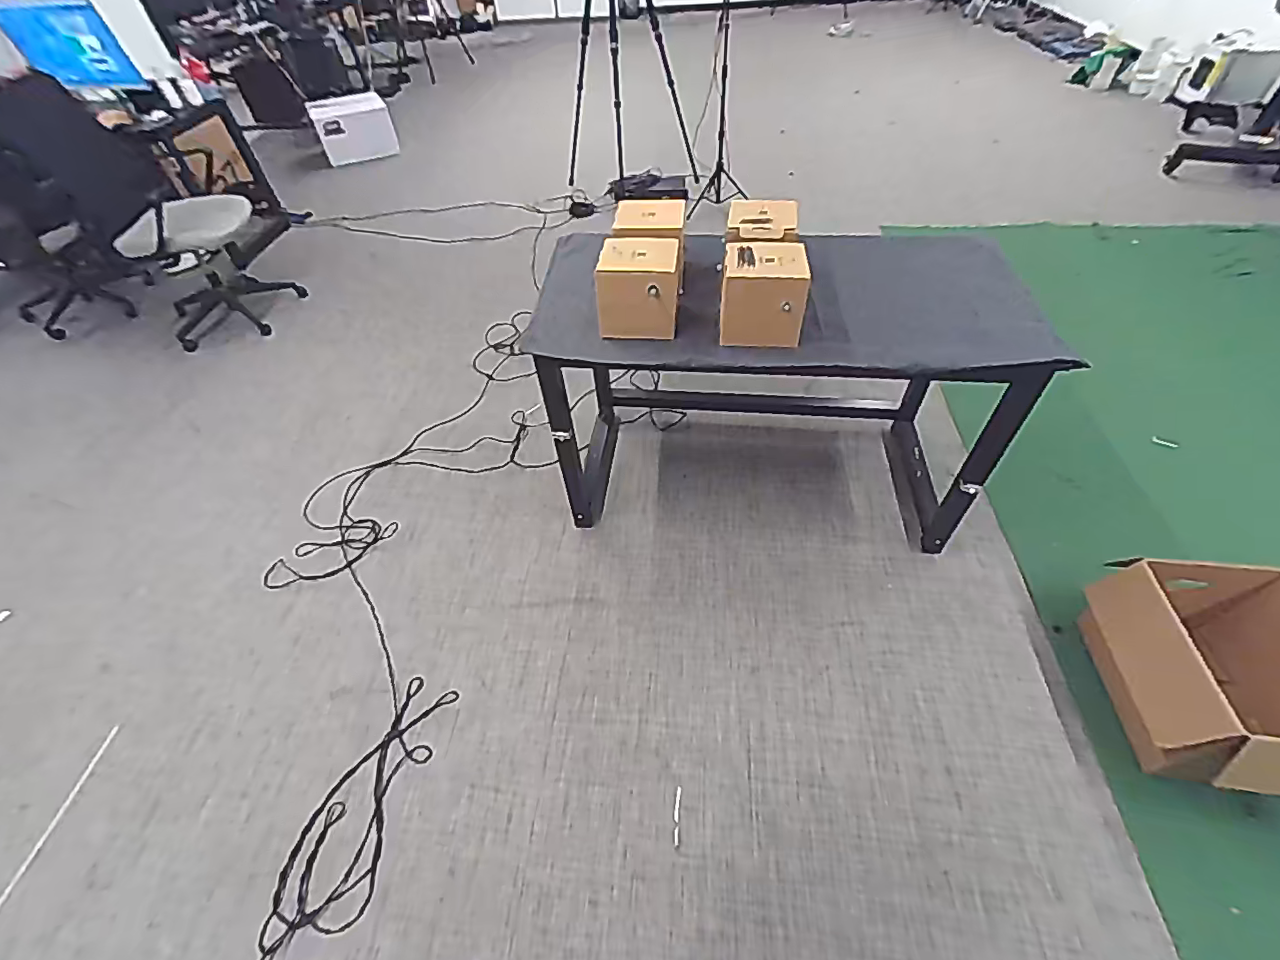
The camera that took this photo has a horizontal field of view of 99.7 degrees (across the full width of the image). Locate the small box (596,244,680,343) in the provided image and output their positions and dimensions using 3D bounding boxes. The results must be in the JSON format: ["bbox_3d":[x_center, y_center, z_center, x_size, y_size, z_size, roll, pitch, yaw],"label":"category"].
[{"bbox_3d":[0.001,-0.436,1.273,0.179,0.176,0.168,3,47,6],"label":"small box"}]

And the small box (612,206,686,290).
[{"bbox_3d":[0.030,-0.599,1.423,0.179,0.176,0.168,1,49,6],"label":"small box"}]

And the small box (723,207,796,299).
[{"bbox_3d":[0.304,-0.580,1.384,0.168,0.176,0.179,6,48,9],"label":"small box"}]
